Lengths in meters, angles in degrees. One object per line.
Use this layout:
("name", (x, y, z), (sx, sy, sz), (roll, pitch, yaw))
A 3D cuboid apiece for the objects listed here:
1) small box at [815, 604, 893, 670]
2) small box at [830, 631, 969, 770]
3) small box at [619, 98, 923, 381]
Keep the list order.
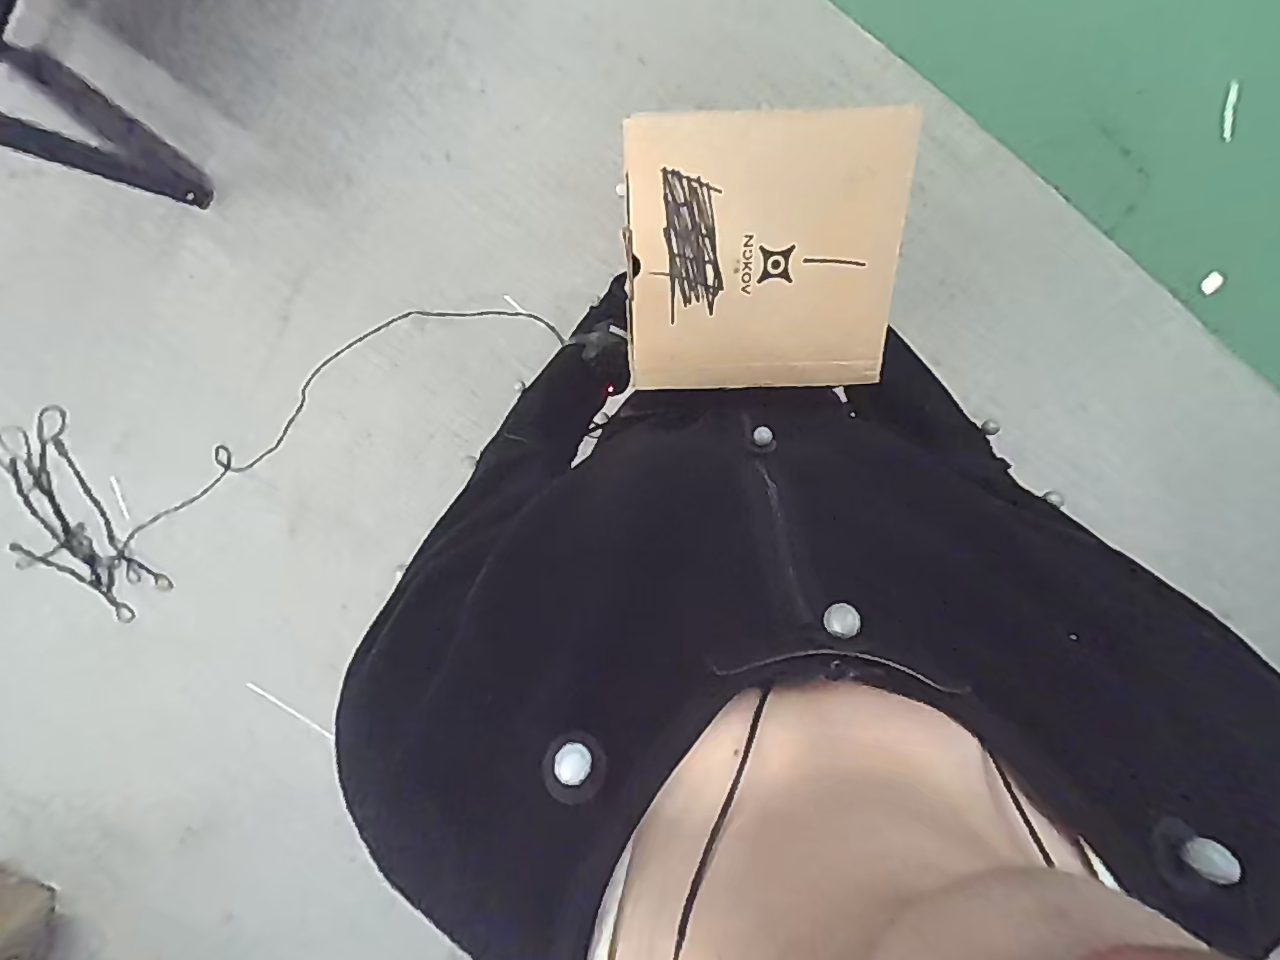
("small box", (0.550, 0.435, 1.305), (0.168, 0.176, 0.179), (-31, 99, 11))
("small box", (0.535, 0.455, 1.143), (0.179, 0.176, 0.168), (-39, 97, 11))
("small box", (0.078, -0.177, 0.415), (0.179, 0.176, 0.168), (-1, 116, 1))
